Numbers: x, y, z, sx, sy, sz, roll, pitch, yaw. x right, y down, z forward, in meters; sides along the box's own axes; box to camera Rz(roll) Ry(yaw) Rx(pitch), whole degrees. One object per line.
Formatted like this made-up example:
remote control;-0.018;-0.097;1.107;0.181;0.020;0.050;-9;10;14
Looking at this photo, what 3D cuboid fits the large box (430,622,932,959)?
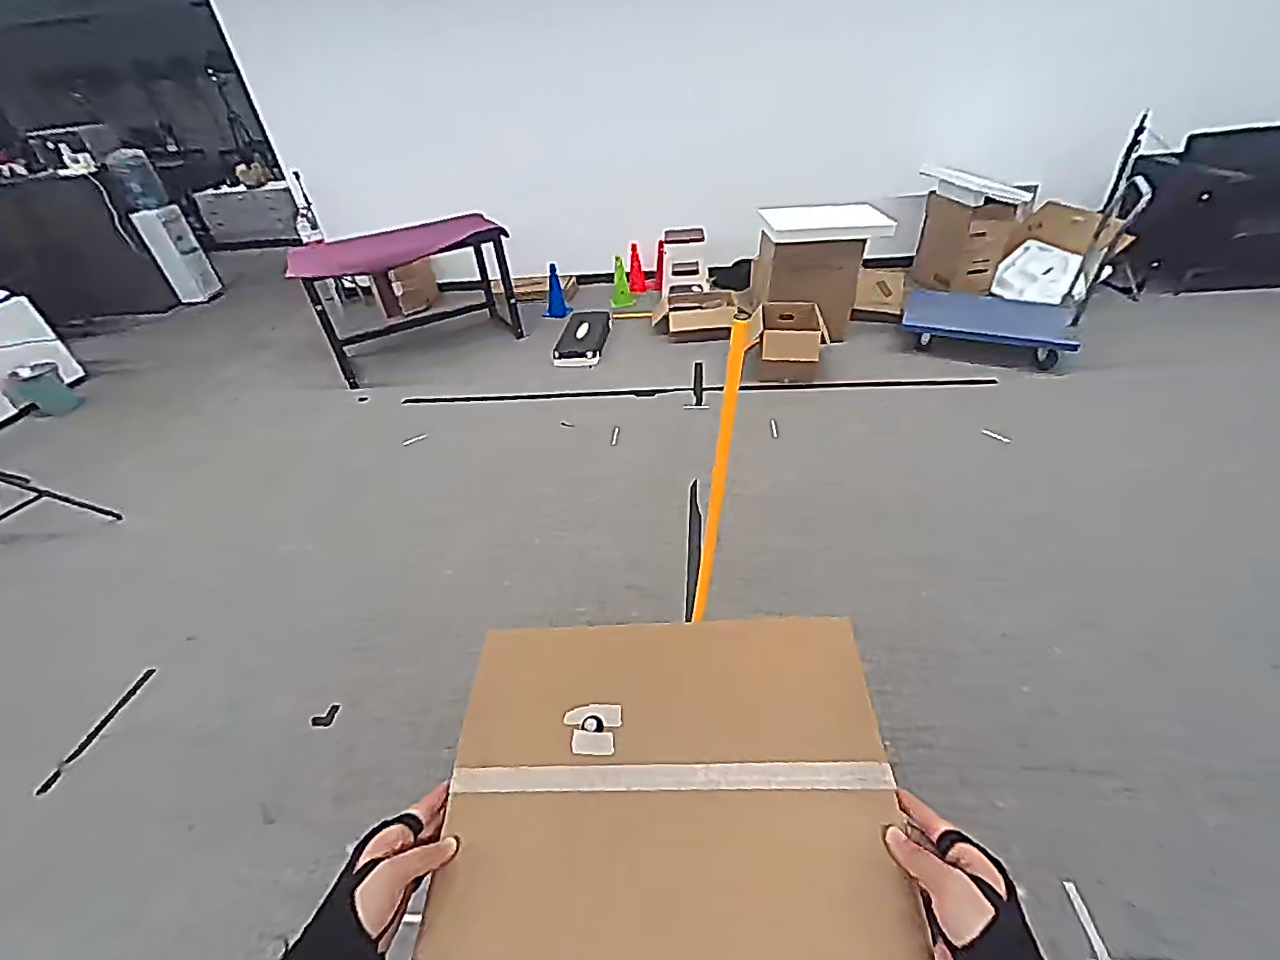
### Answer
large box;0.046;0.385;0.615;0.408;0.320;0.320;-5;46;7
